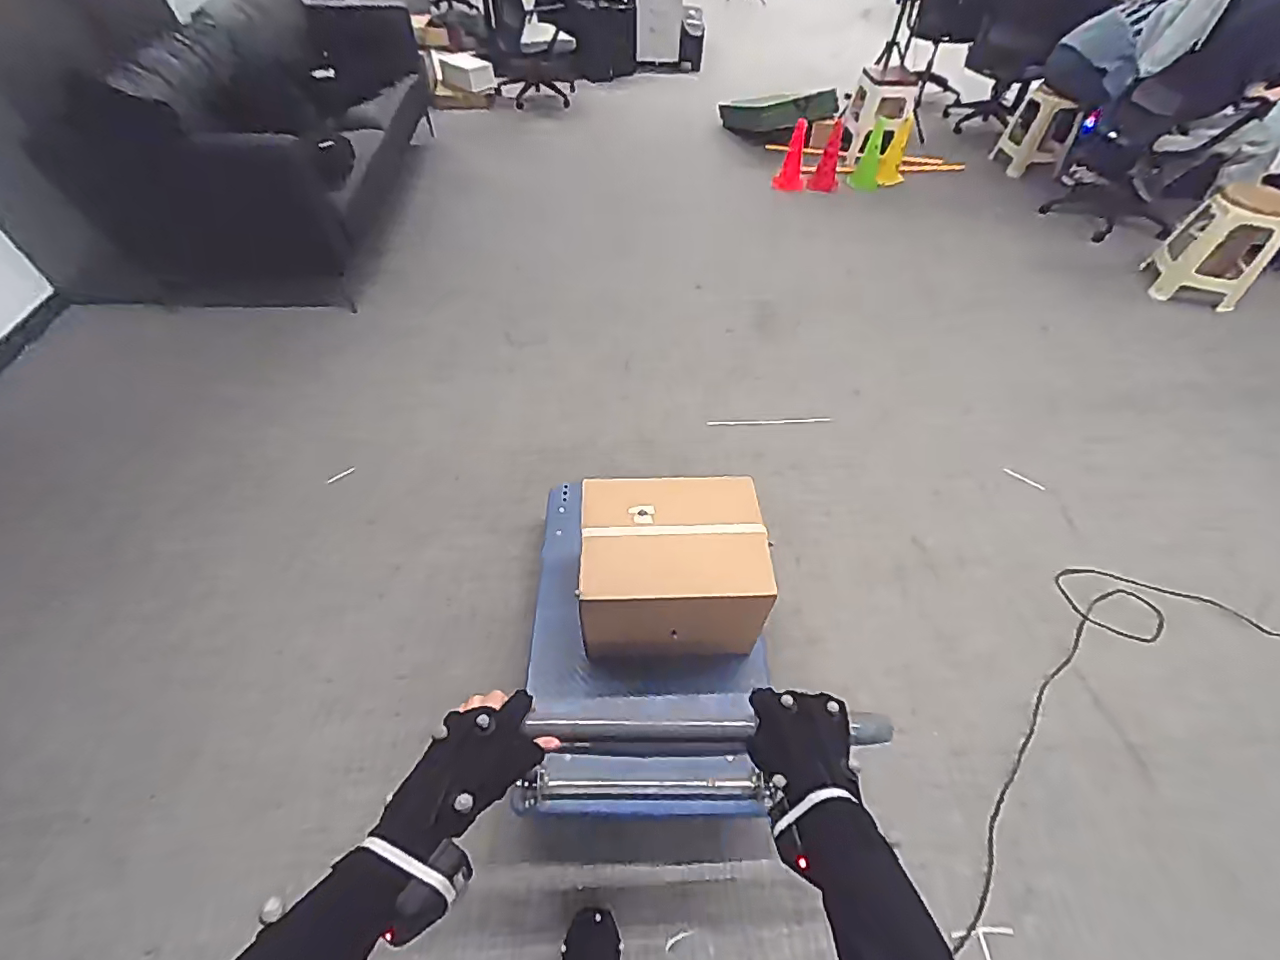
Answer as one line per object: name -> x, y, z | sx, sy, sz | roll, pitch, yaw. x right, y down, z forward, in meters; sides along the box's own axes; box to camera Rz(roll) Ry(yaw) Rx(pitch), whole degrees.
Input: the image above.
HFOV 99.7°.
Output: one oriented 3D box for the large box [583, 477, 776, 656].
large box -> 0.075, 0.216, 1.311 | 0.408, 0.320, 0.320 | -3, 51, -2
